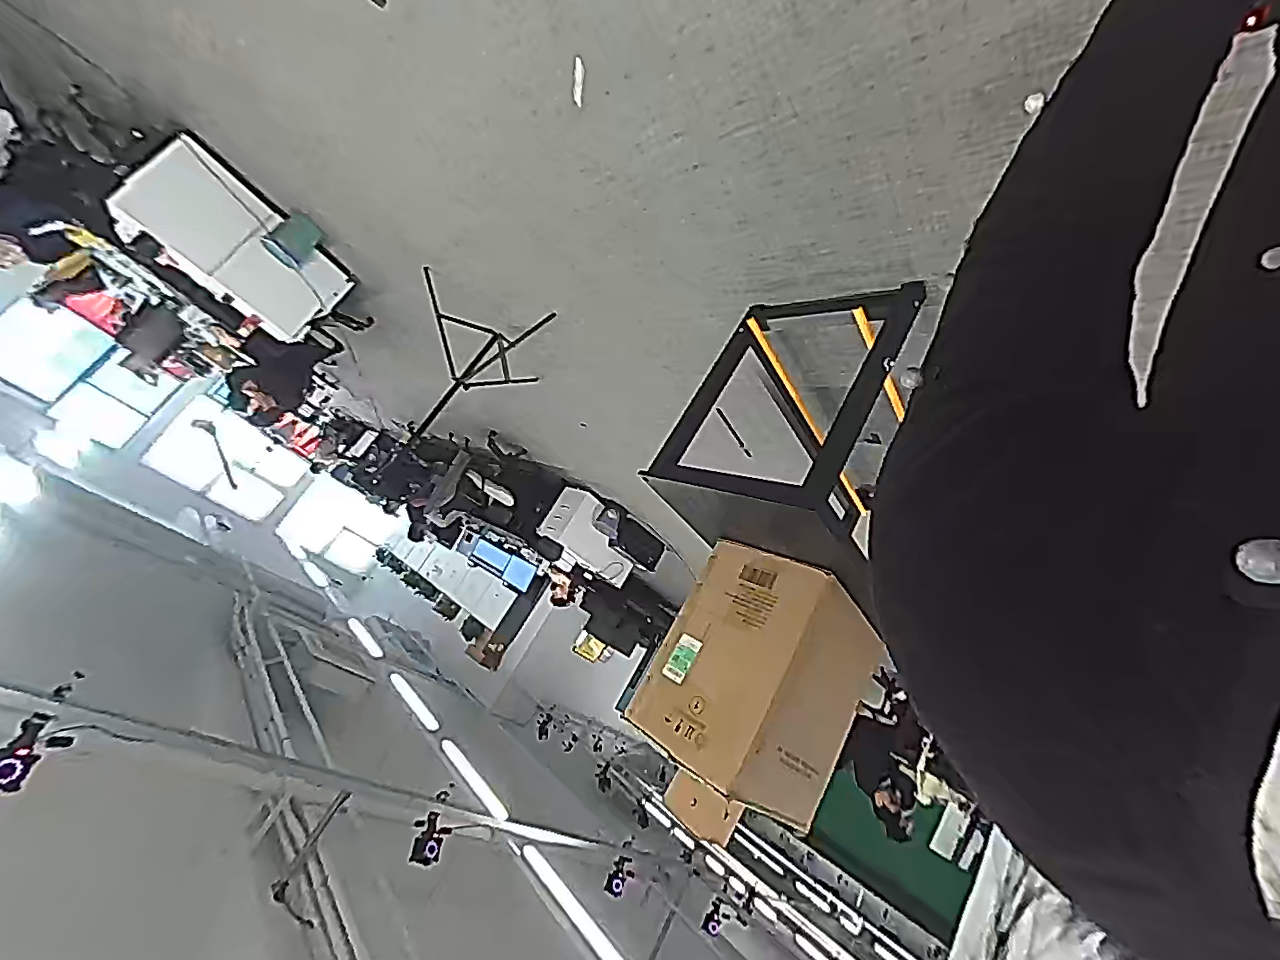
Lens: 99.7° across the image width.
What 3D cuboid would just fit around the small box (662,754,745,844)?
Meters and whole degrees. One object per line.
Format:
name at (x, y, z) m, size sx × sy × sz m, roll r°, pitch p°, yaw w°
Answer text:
small box at (0.209, 1.005, 1.712) m, size 0.179 × 0.176 × 0.168 m, roll 14°, pitch 155°, yaw 48°
